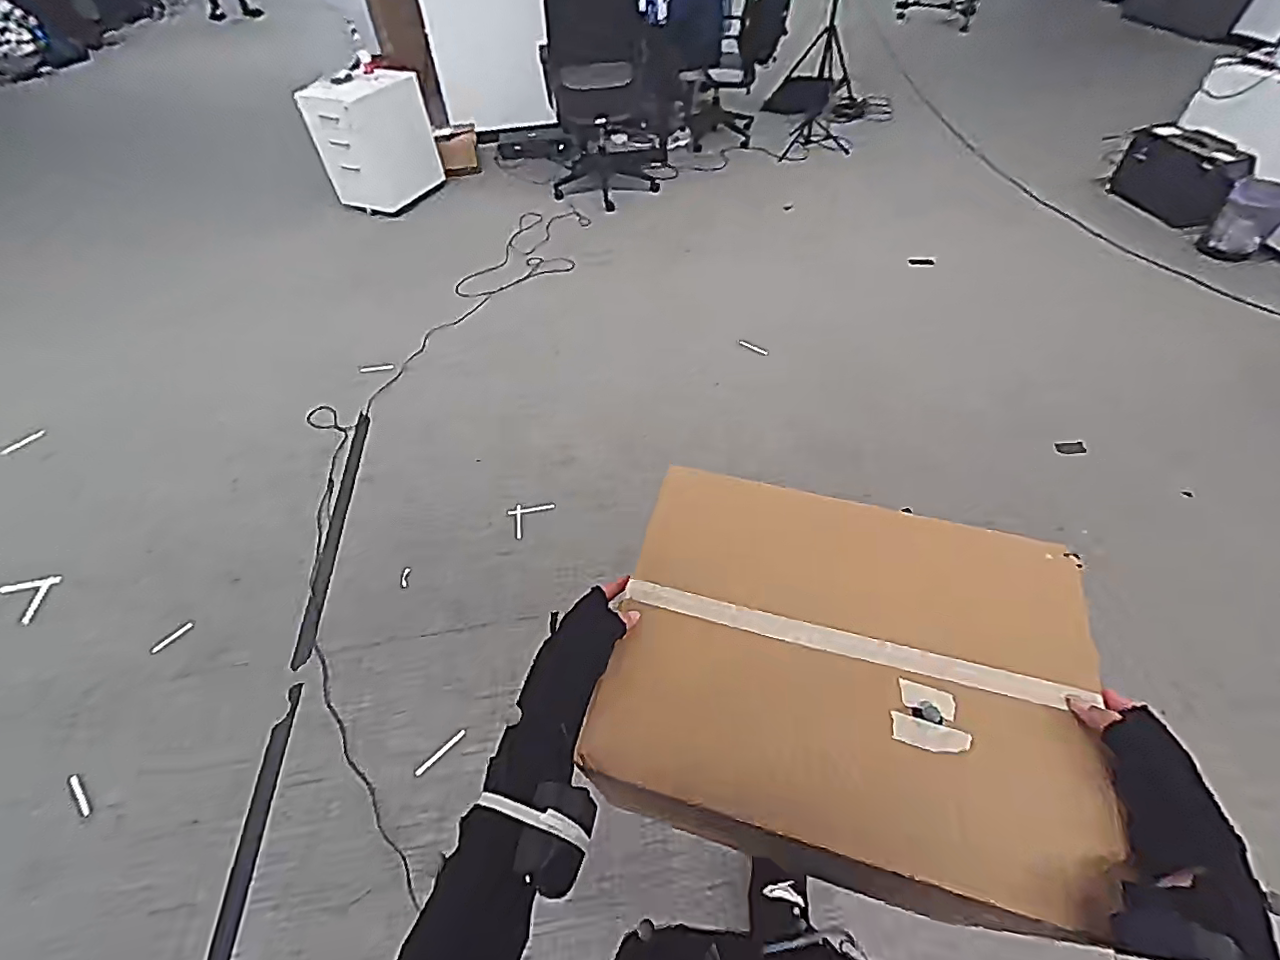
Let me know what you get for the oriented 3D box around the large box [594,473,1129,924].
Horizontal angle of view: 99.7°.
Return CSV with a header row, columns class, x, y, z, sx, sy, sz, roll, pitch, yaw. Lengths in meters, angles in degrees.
class,x,y,z,sx,sy,sz,roll,pitch,yaw
large box,0.195,0.235,0.612,0.408,0.320,0.320,13,57,12
